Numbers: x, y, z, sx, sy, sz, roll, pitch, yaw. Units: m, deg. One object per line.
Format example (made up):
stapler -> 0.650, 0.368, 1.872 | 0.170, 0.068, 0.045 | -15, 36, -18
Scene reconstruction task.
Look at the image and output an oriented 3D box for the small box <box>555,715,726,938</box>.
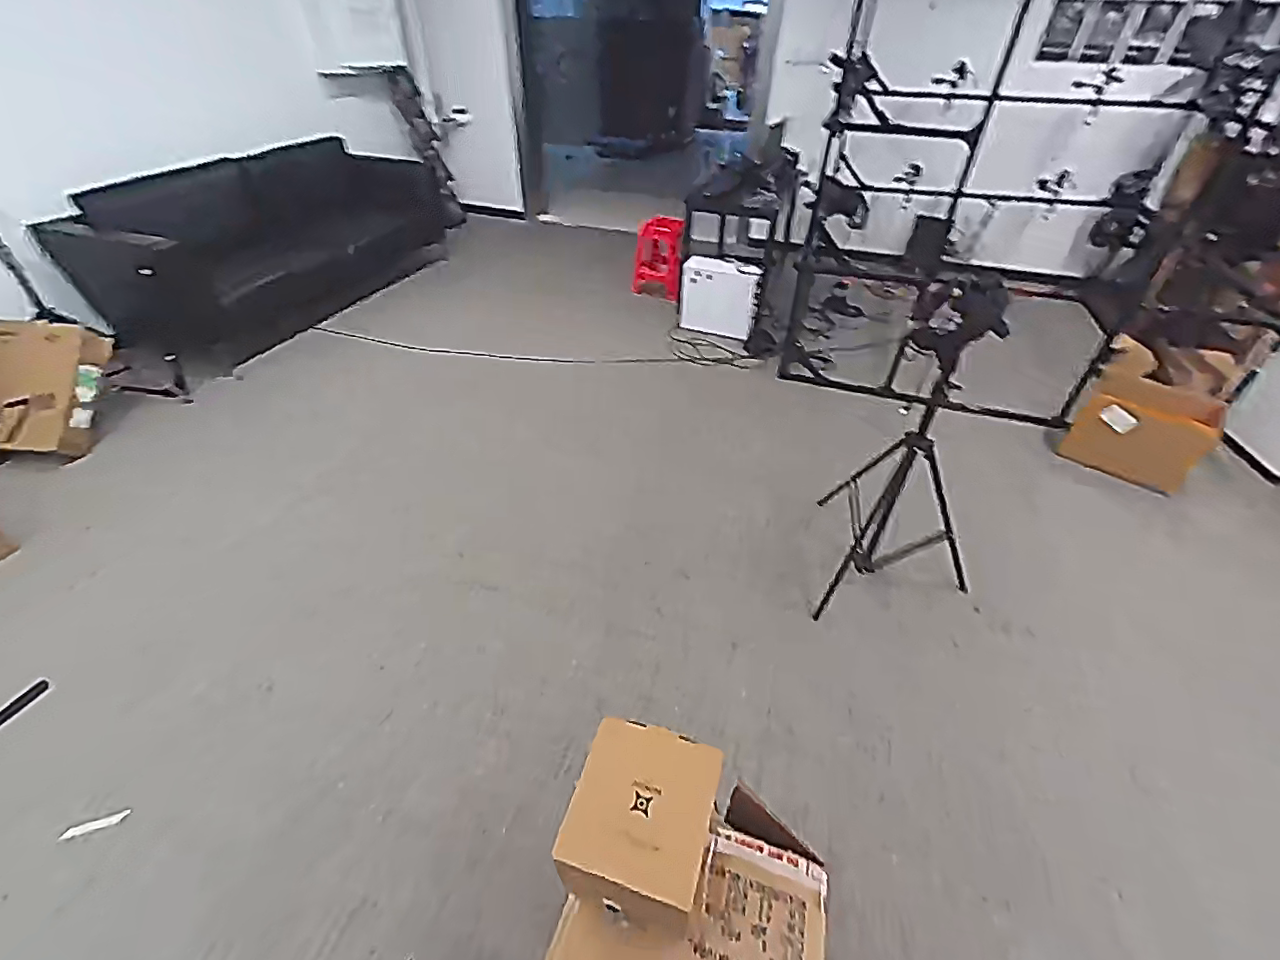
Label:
small box -> 0.007, 0.444, 0.699 | 0.168, 0.176, 0.179 | 11, 43, 15
